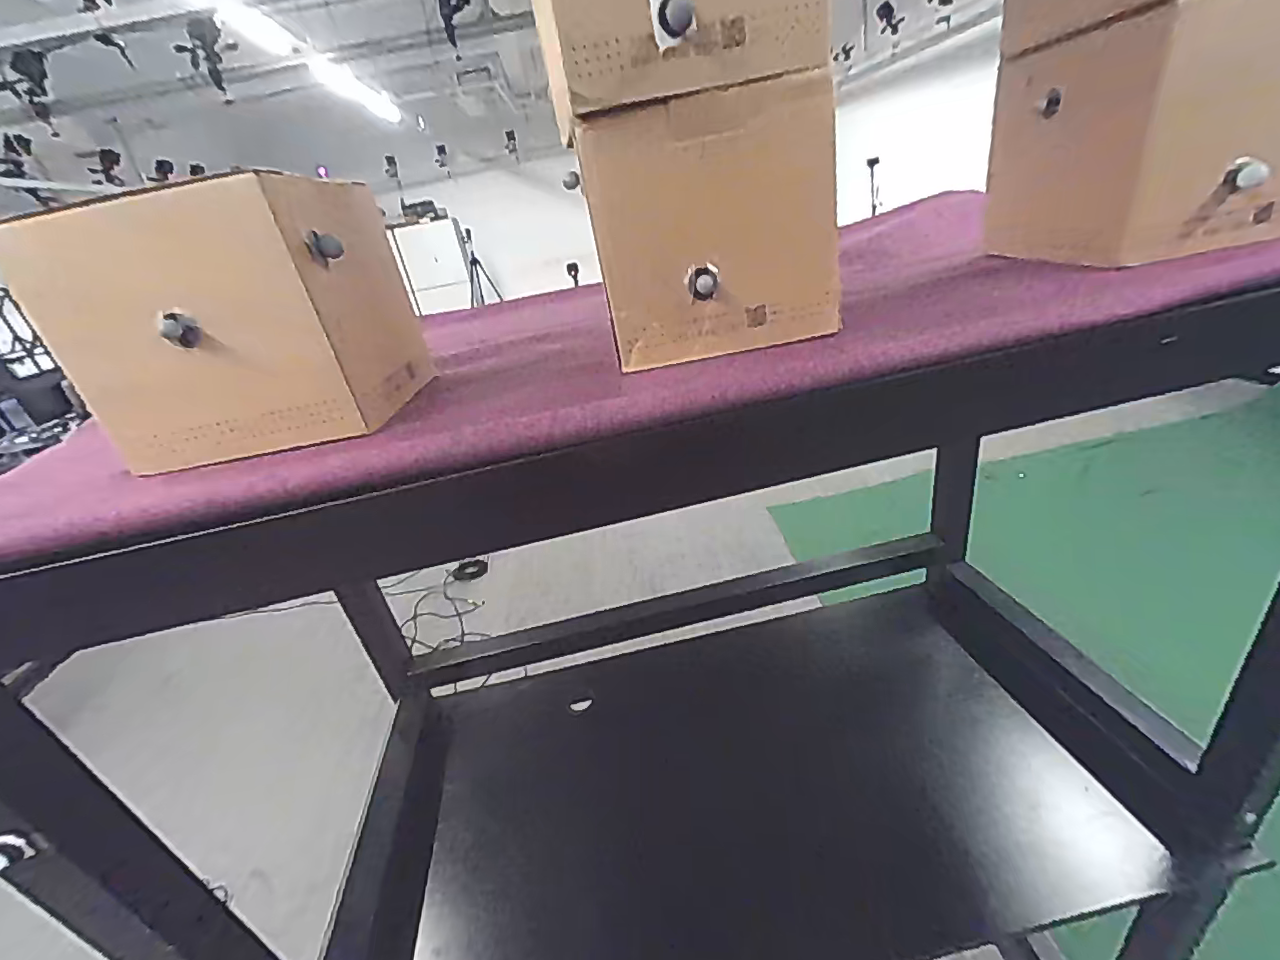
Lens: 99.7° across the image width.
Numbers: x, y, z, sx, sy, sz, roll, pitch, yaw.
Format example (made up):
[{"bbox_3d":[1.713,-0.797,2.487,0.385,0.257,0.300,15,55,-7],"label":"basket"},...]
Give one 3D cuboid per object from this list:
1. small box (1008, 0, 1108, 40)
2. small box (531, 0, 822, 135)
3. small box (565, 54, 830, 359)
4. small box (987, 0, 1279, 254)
[{"bbox_3d":[0.389,-0.435,0.370,0.168,0.176,0.179,-12,27,3],"label":"small box"},{"bbox_3d":[0.008,-0.346,0.363,0.168,0.176,0.179,-15,28,-3],"label":"small box"},{"bbox_3d":[0.043,-0.207,0.439,0.168,0.176,0.179,-11,26,1],"label":"small box"},{"bbox_3d":[0.420,-0.291,0.444,0.168,0.176,0.179,-11,28,3],"label":"small box"}]
